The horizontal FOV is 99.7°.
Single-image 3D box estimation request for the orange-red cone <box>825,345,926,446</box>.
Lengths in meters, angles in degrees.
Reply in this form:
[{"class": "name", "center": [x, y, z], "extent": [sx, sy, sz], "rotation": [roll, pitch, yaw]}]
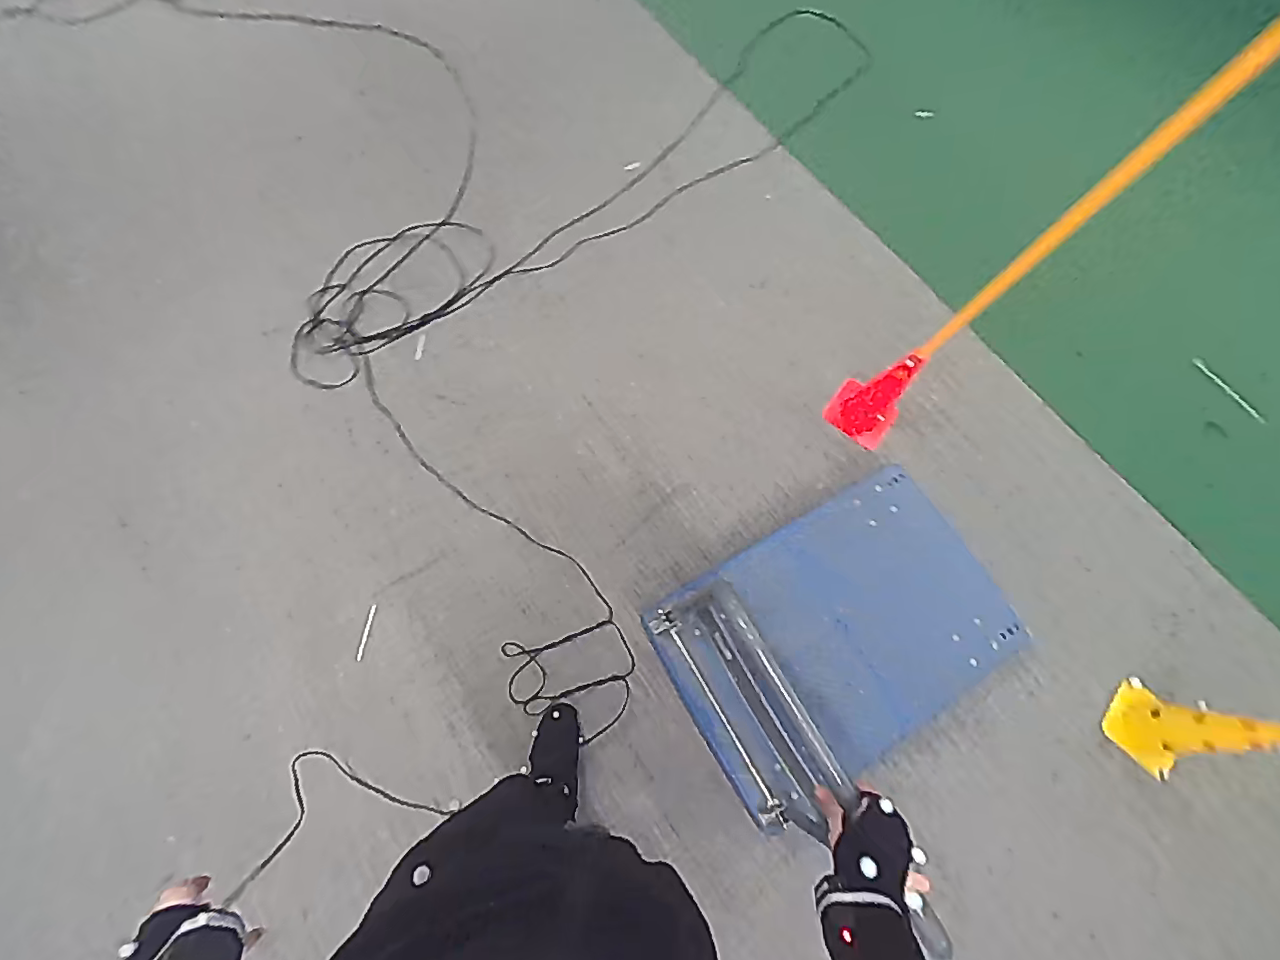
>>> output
[{"class": "orange-red cone", "center": [0.744, -0.289, 1.629], "extent": [0.199, 0.360, 0.198], "rotation": [38, 71, 10]}]
